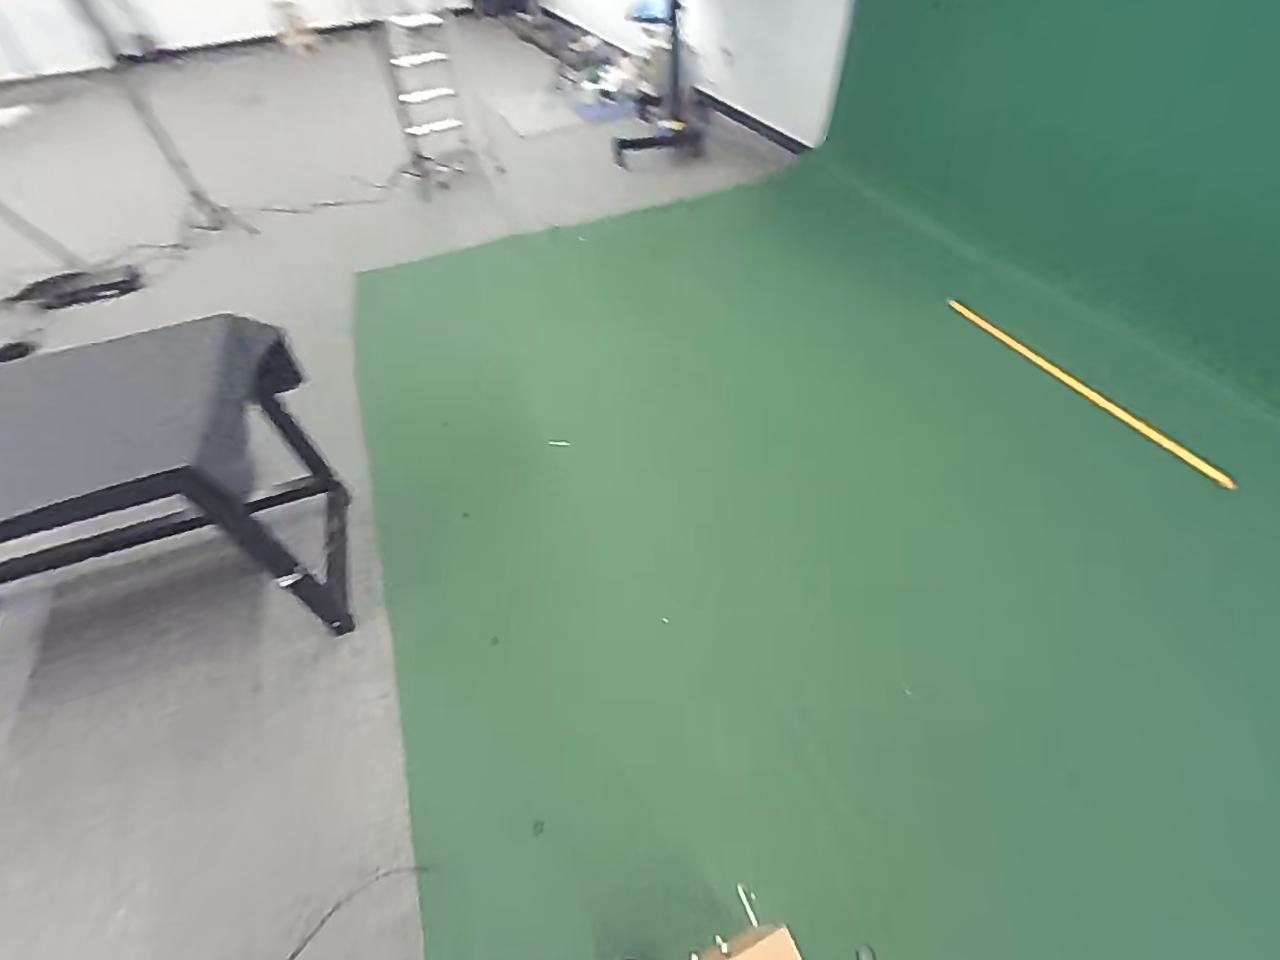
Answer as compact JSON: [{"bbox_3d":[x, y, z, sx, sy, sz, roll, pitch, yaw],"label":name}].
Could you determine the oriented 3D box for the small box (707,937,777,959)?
[{"bbox_3d":[0.151,0.858,0.852,0.179,0.176,0.168,-18,51,-14],"label":"small box"}]

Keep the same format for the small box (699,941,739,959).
[{"bbox_3d":[0.153,0.965,0.974,0.179,0.176,0.168,-17,50,-13],"label":"small box"}]
